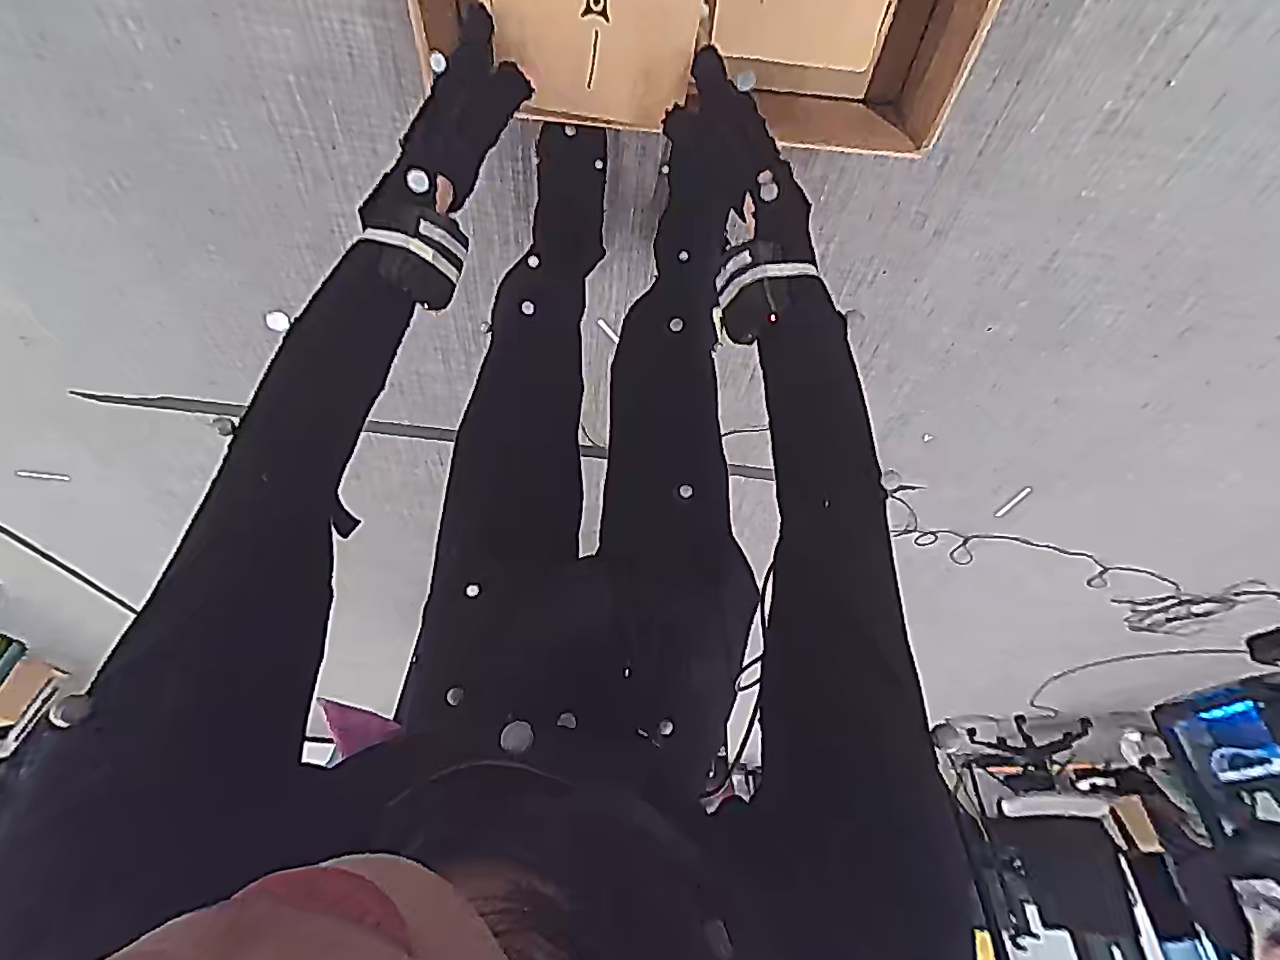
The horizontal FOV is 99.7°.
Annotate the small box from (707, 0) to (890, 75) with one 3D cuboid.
[{"bbox_3d":[0.171,-0.562,0.573,0.179,0.176,0.168,6,142,-1],"label":"small box"}]

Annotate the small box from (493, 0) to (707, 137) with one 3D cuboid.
[{"bbox_3d":[-0.034,-0.431,0.467,0.168,0.176,0.179,5,136,-8],"label":"small box"}]
